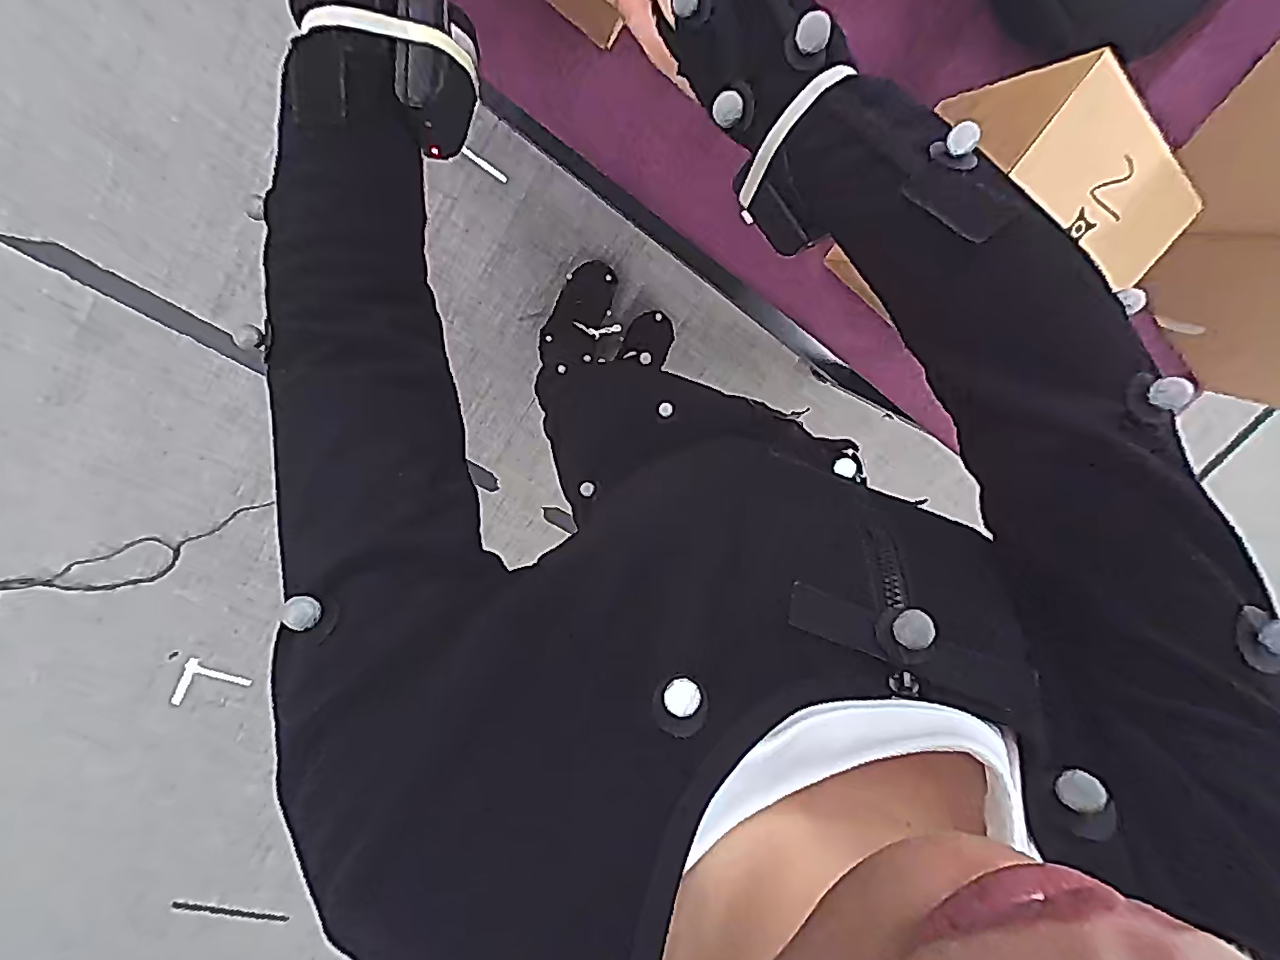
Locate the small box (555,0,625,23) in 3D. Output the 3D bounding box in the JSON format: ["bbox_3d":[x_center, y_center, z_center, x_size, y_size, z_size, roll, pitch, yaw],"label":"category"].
[{"bbox_3d":[-0.043,-0.430,0.320,0.179,0.176,0.168,27,106,-23],"label":"small box"}]
